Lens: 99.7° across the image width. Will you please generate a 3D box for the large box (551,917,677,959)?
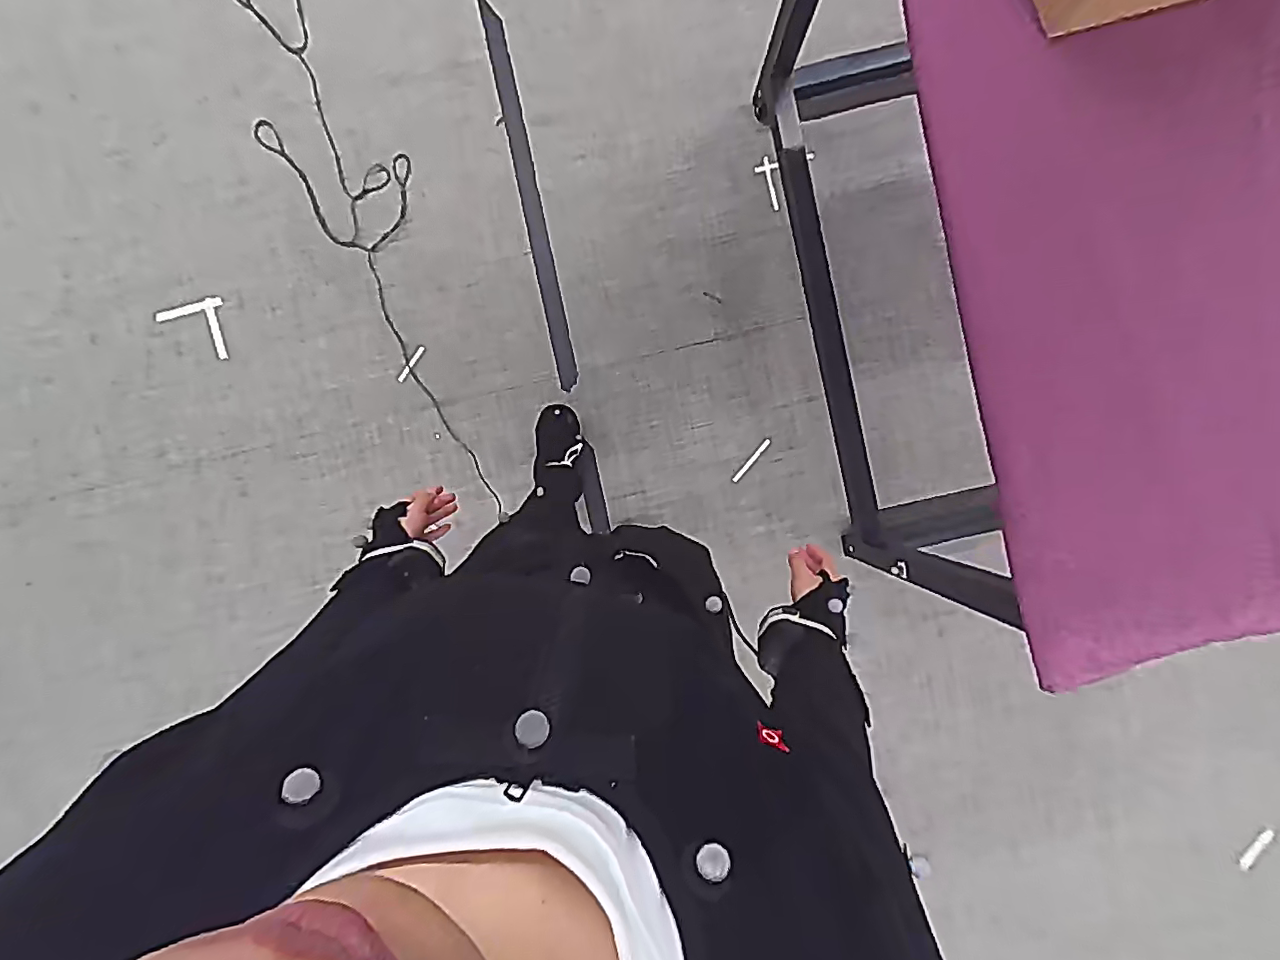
[{"bbox_3d":[-0.035,1.367,1.269,0.320,0.320,0.408,-14,91,1],"label":"large box"}]
